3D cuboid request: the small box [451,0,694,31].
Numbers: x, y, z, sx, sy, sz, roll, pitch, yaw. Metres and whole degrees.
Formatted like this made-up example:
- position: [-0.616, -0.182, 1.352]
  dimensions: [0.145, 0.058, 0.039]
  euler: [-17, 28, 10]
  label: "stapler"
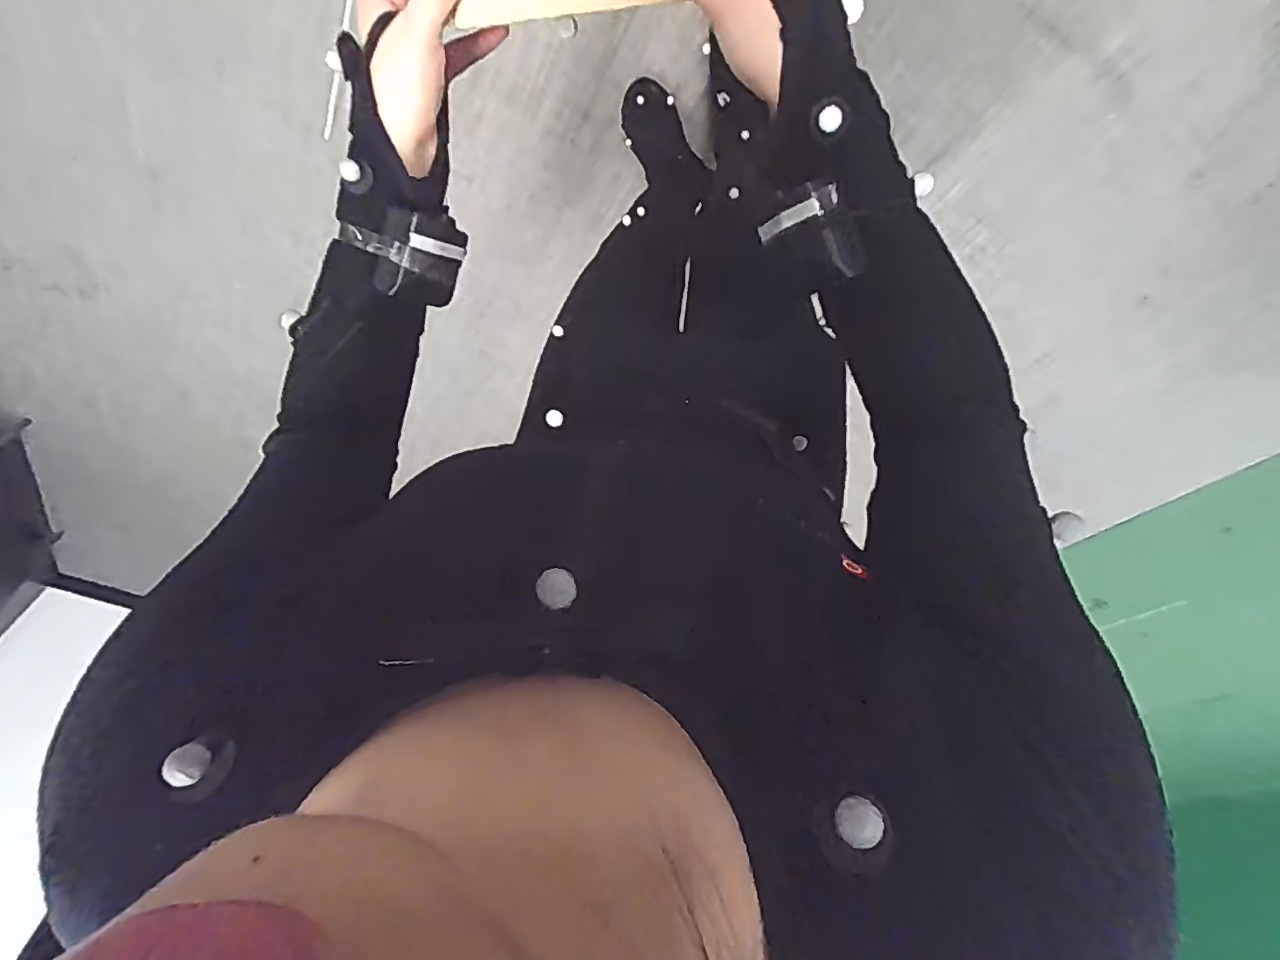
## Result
- position: [-0.042, -0.414, 0.343]
  dimensions: [0.168, 0.176, 0.179]
  euler: [-3, 132, 6]
  label: "small box"
